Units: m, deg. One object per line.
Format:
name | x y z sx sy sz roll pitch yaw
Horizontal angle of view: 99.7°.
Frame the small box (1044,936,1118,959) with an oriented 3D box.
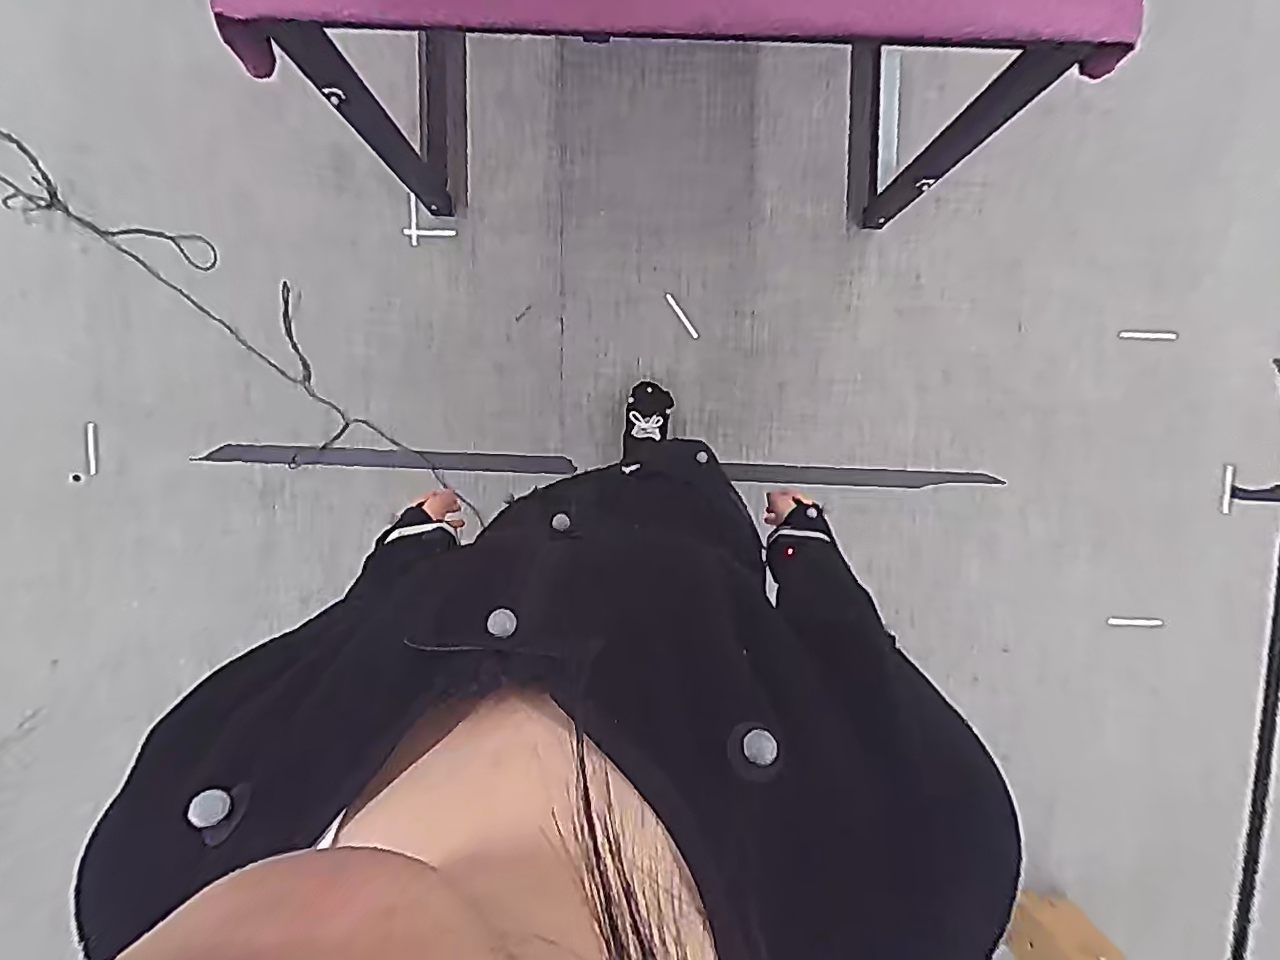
small box | 1.167 1.328 1.382 0.168 0.176 0.179 5 94 -2
